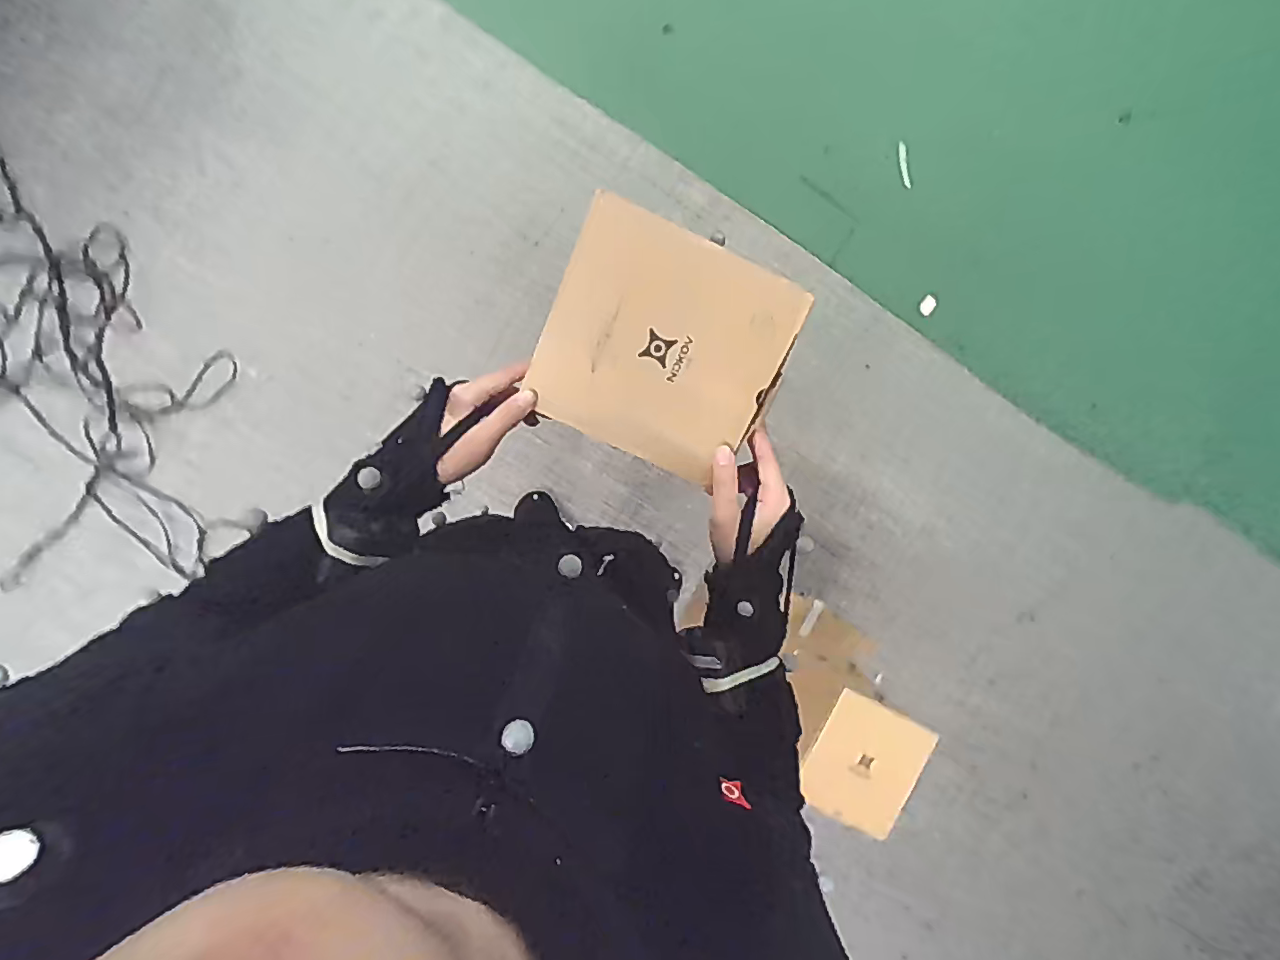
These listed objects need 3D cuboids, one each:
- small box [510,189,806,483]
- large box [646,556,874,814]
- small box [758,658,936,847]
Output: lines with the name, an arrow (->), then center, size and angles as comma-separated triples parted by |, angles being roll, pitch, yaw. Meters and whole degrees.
small box -> 0.012, -0.121, 0.479 | 0.179, 0.176, 0.168 | 23, 104, -4
large box -> 0.251, 0.439, 1.252 | 0.320, 0.320, 0.408 | 30, 89, -4
small box -> 0.309, 0.410, 0.848 | 0.168, 0.176, 0.179 | 29, 89, -5
